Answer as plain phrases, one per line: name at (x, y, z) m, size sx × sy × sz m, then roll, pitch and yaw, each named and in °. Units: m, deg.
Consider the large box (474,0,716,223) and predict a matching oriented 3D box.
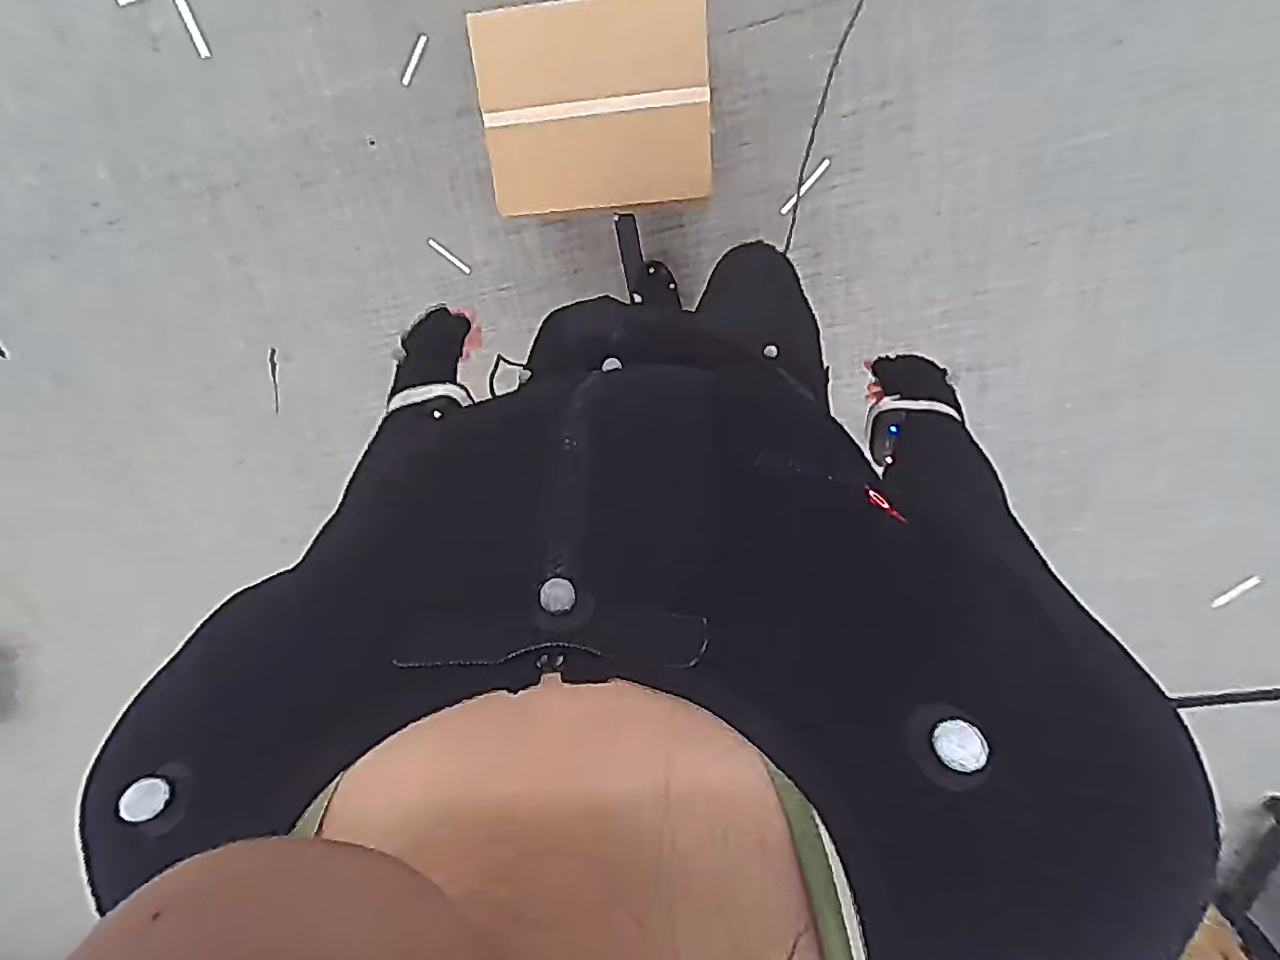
large box at (-0.062, -0.708, 1.084) m, size 0.408 × 0.320 × 0.320 m, roll -2°, pitch 115°, yaw 6°
